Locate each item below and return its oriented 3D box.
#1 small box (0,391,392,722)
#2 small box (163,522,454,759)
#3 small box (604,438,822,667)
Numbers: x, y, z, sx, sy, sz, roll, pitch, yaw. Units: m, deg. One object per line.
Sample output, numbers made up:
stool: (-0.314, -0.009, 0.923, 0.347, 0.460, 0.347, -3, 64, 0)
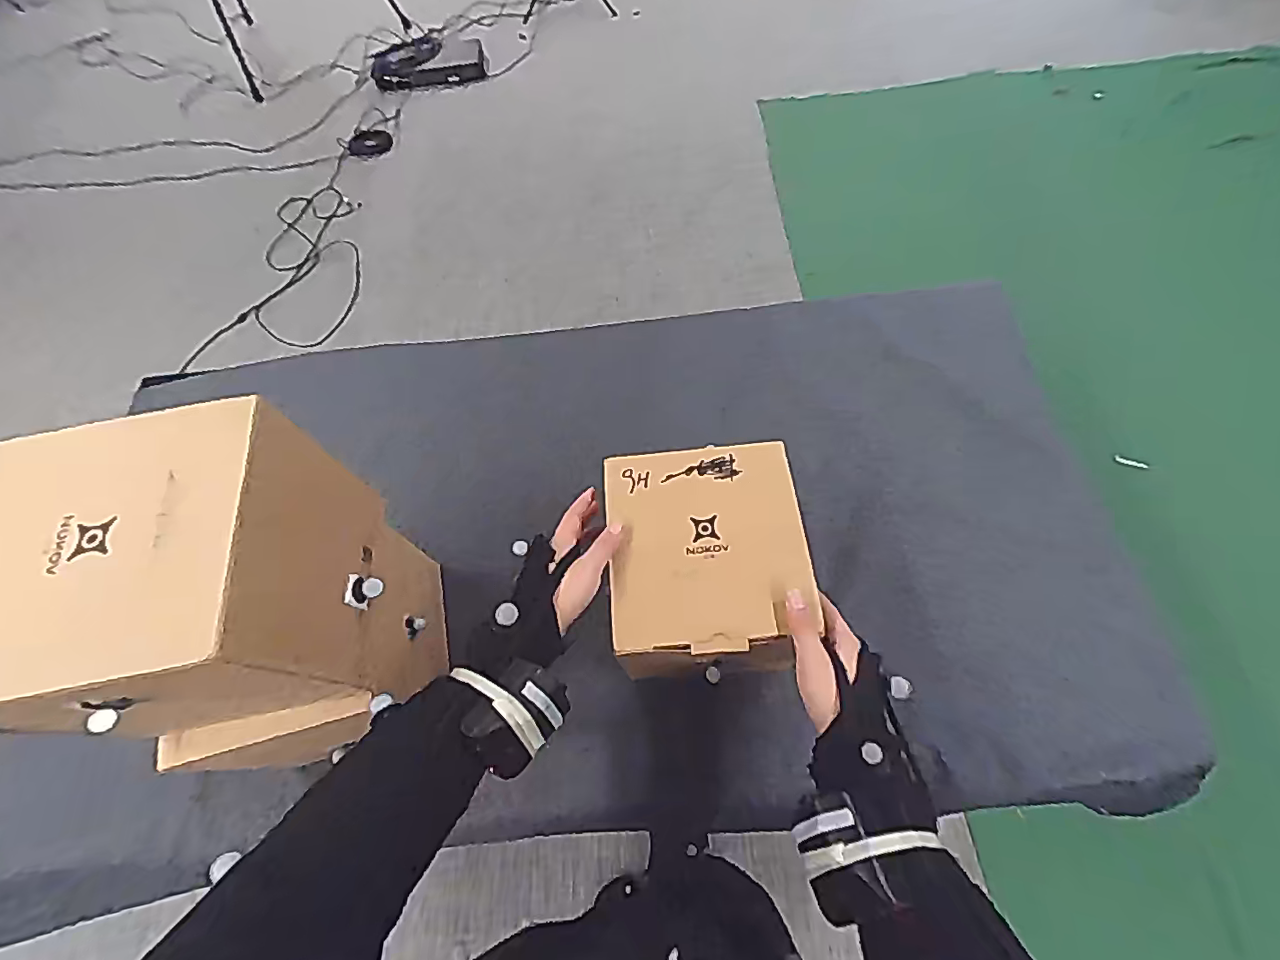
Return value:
small box: (-0.300, 0.065, 0.378, 0.179, 0.176, 0.168, -11, 65, -3)
small box: (-0.293, 0.152, 0.516, 0.168, 0.176, 0.179, -15, 64, -3)
small box: (0.060, 0.082, 0.527, 0.168, 0.176, 0.179, -6, 64, 1)
